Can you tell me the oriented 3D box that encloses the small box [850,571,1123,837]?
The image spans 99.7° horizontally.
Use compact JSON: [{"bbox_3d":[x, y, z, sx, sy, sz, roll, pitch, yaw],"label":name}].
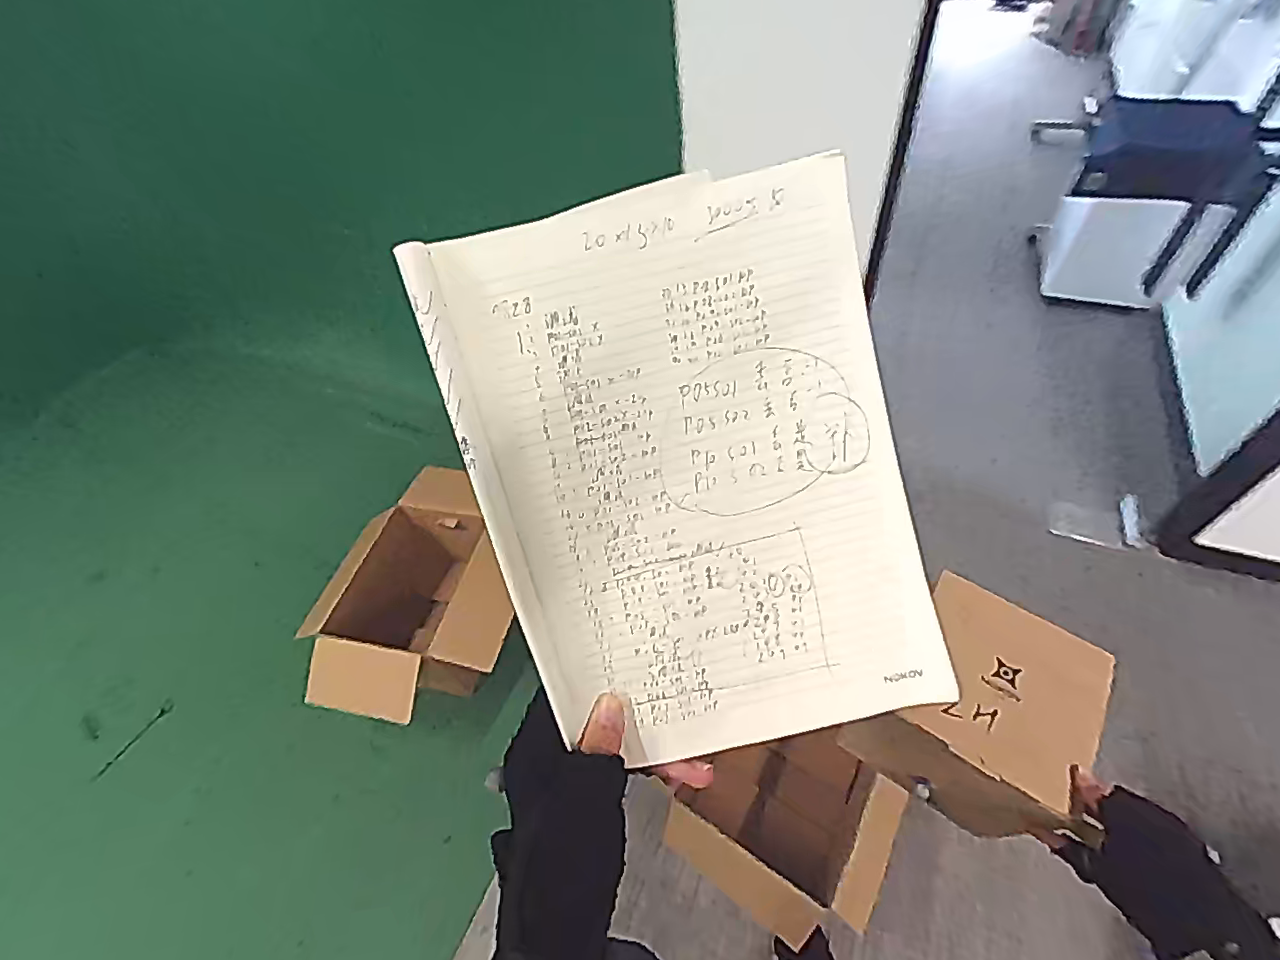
[{"bbox_3d":[0.346,0.235,0.568,0.168,0.176,0.179,30,60,22],"label":"small box"}]
